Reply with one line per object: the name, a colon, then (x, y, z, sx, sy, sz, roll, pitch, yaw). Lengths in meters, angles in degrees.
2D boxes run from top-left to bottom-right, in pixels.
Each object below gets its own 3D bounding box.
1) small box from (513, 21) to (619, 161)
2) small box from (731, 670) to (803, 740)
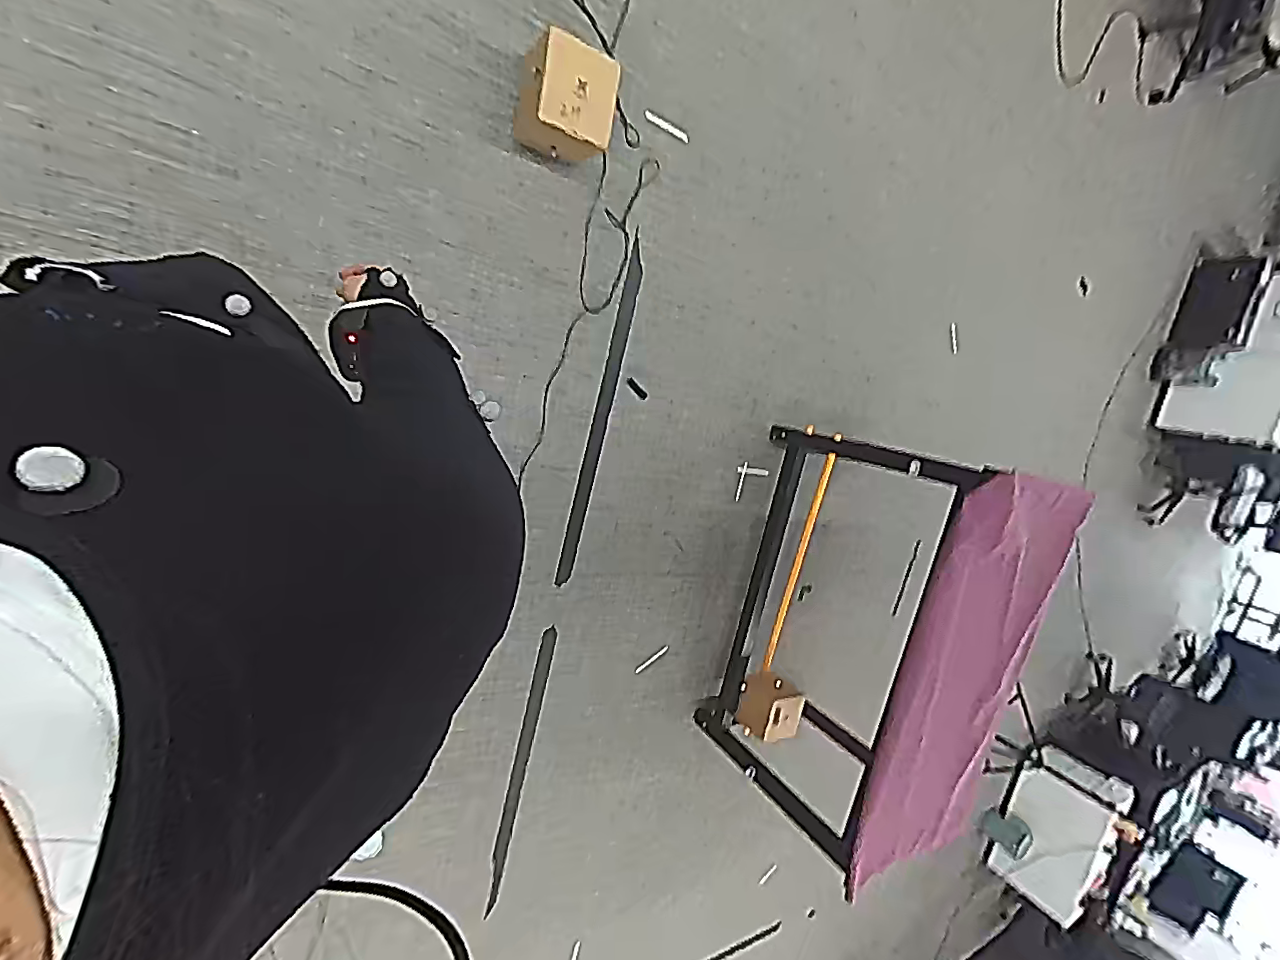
small box: (-0.168, -0.838, 1.189, 0.168, 0.176, 0.179, 4, 103, -33)
small box: (0.460, 0.817, 1.982, 0.179, 0.176, 0.168, 7, 100, -35)
